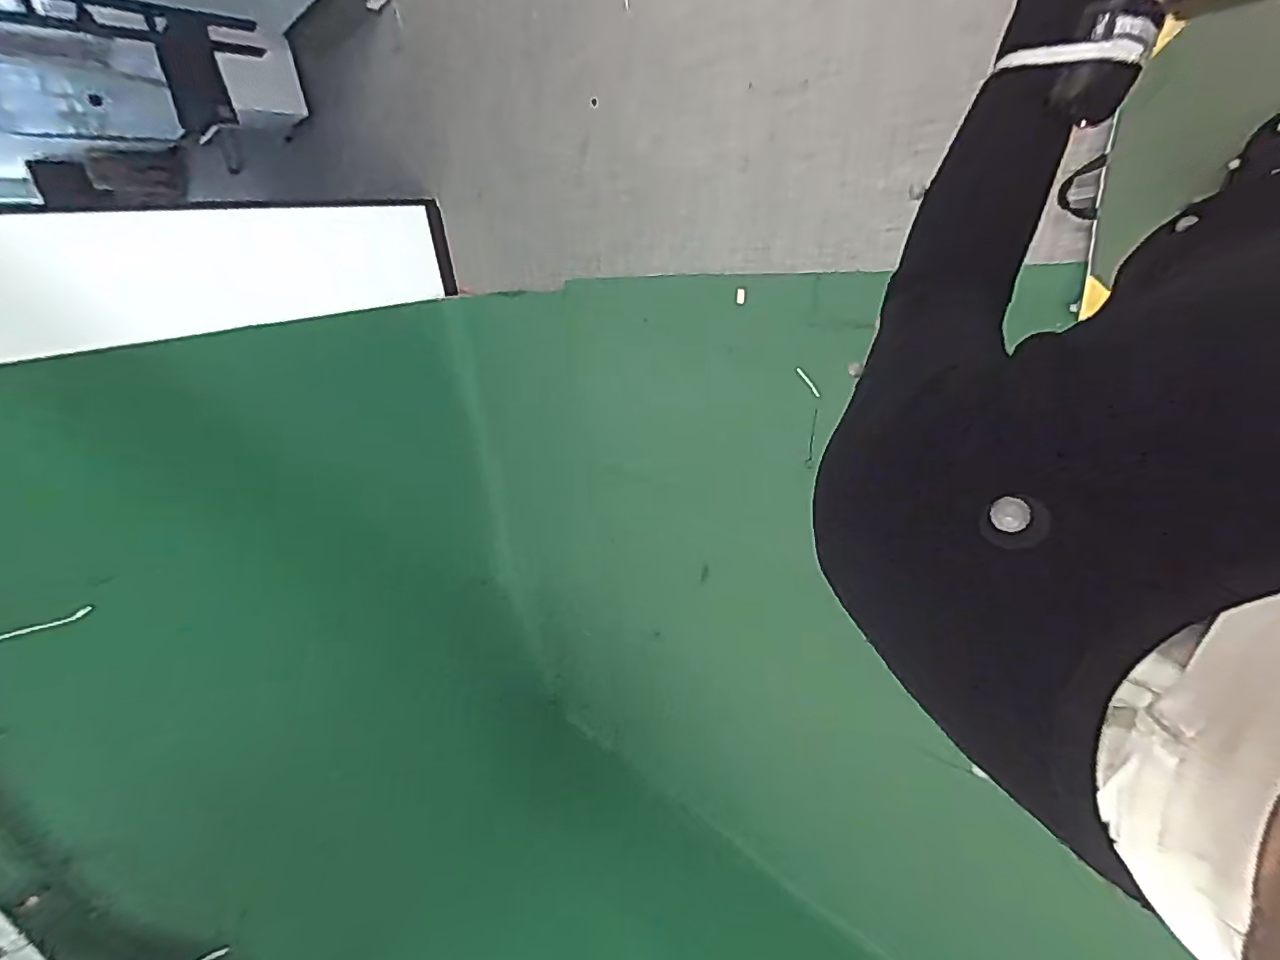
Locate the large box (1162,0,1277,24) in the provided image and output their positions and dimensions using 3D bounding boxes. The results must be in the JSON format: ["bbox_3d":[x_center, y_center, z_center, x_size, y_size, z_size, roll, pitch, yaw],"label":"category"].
[{"bbox_3d":[0.567,-0.506,0.274,0.408,0.320,0.320,12,127,41],"label":"large box"}]
